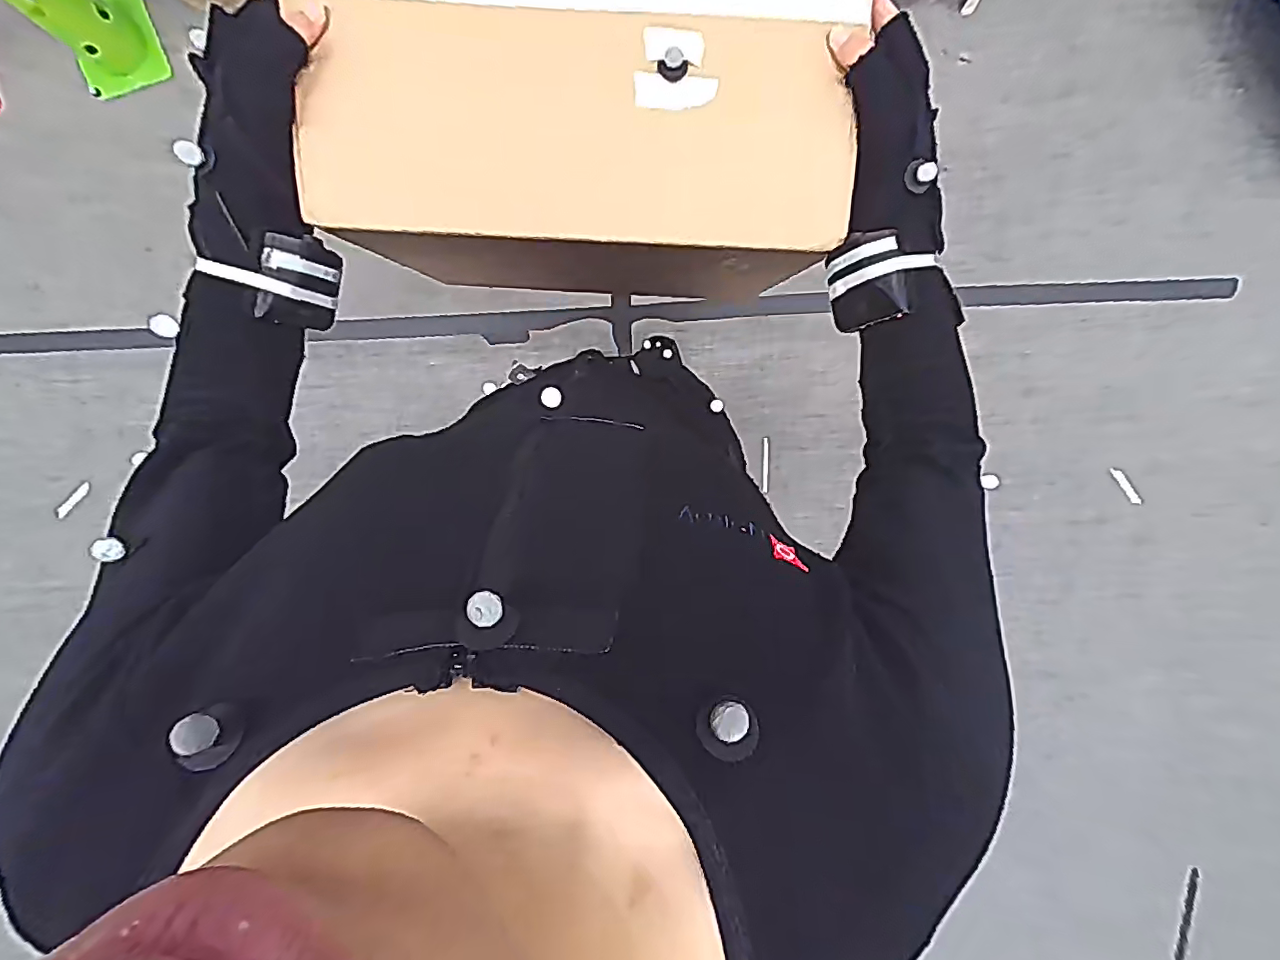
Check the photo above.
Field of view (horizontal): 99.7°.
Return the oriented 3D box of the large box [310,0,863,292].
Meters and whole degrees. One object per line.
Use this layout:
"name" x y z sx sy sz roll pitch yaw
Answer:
"large box" -0.041 -0.372 0.534 0.408 0.320 0.320 2 102 -2
